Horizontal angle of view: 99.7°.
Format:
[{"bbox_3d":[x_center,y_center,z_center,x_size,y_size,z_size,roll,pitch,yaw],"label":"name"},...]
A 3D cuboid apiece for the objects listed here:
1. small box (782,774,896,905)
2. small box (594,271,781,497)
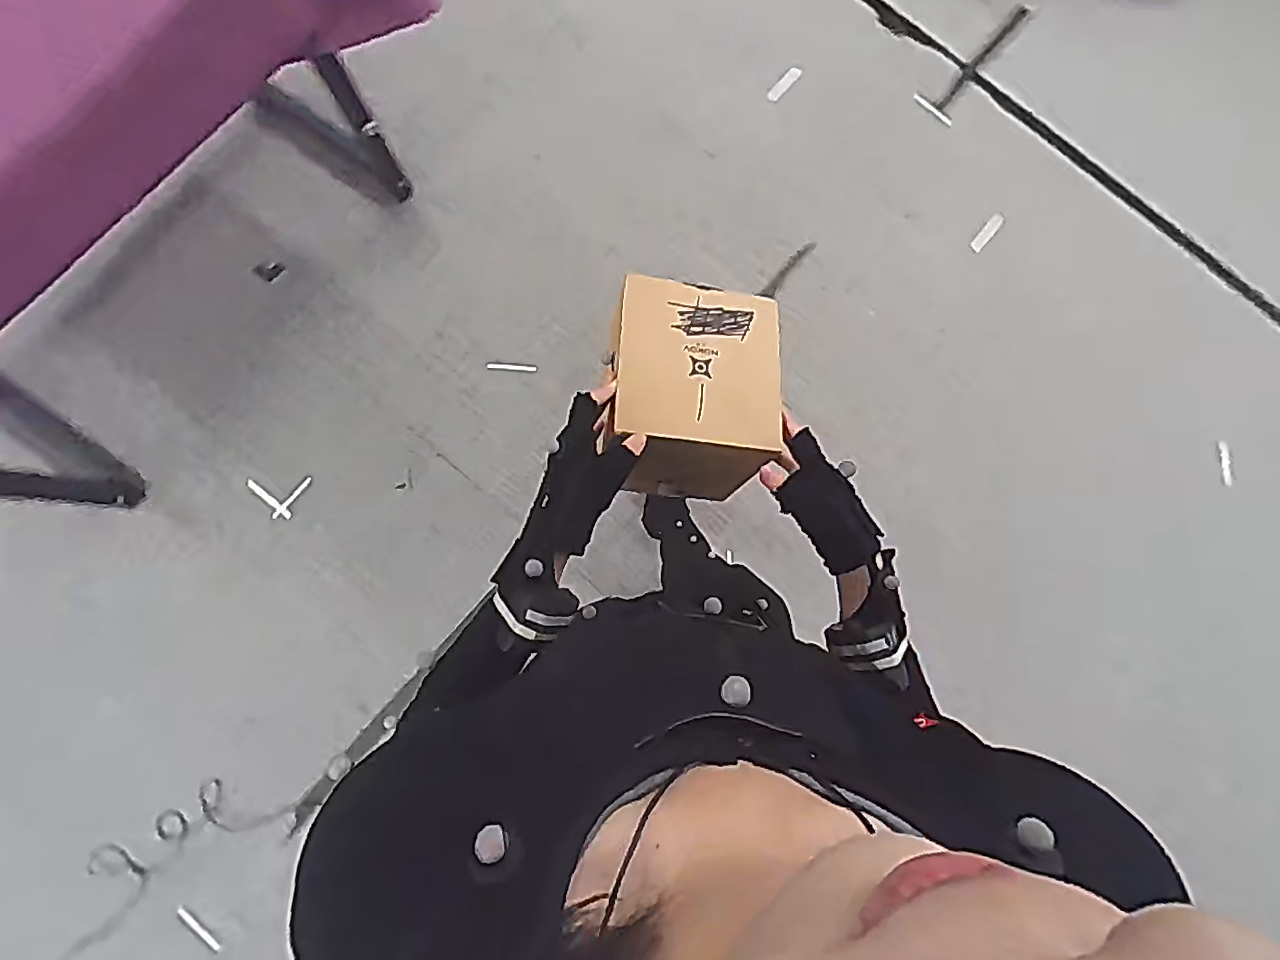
[{"bbox_3d":[0.481,0.872,1.334,0.168,0.176,0.179,44,83,4],"label":"small box"},{"bbox_3d":[0.041,-0.095,0.600,0.168,0.176,0.179,5,69,-9],"label":"small box"}]
